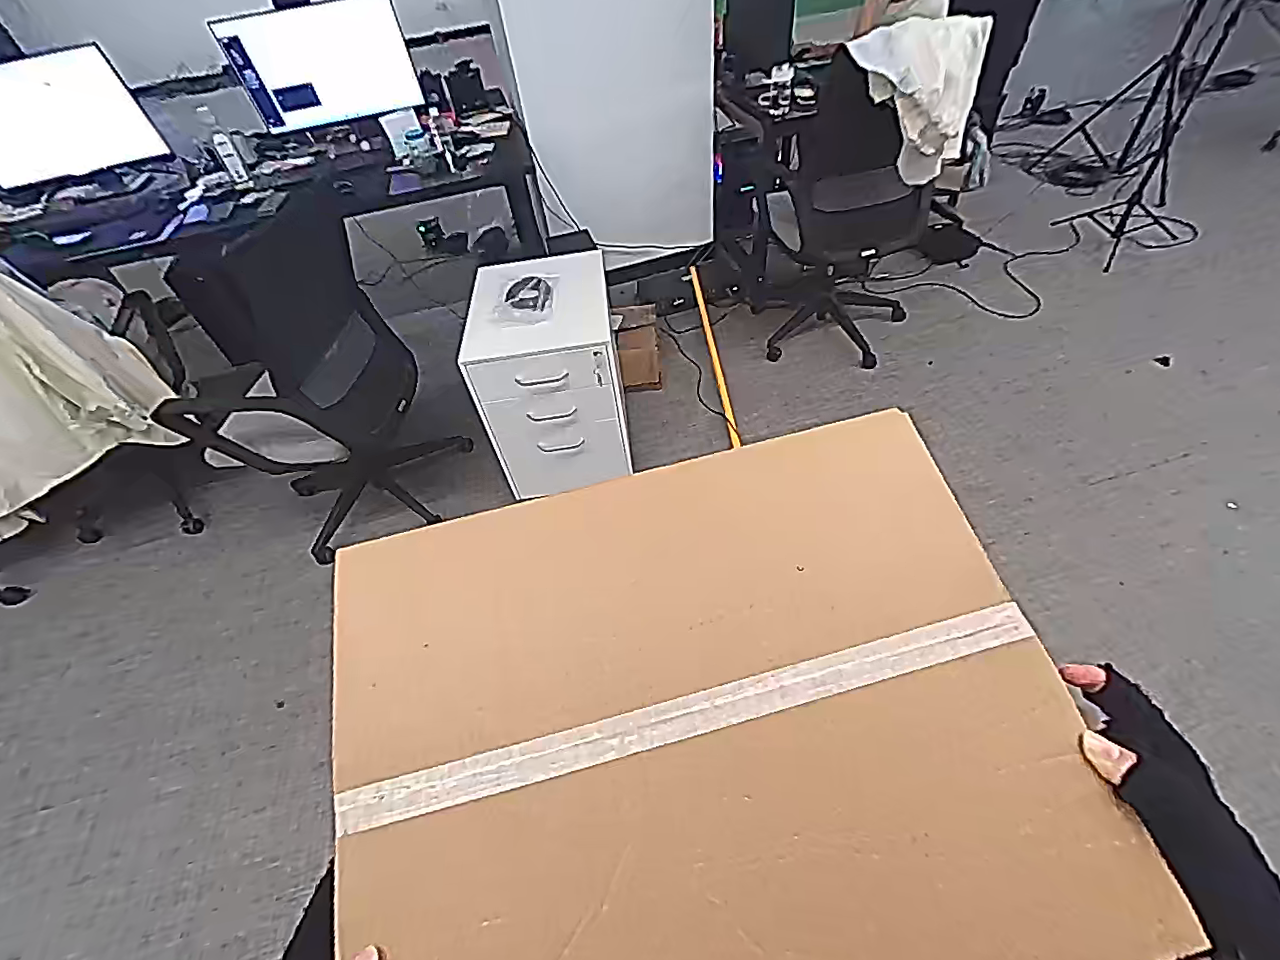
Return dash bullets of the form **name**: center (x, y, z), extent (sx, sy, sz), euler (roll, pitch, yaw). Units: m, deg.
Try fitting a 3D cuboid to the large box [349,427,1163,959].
- **large box**: center (0.042, 0.207, 0.450), extent (0.408, 0.320, 0.320), euler (-15, 63, -3)
